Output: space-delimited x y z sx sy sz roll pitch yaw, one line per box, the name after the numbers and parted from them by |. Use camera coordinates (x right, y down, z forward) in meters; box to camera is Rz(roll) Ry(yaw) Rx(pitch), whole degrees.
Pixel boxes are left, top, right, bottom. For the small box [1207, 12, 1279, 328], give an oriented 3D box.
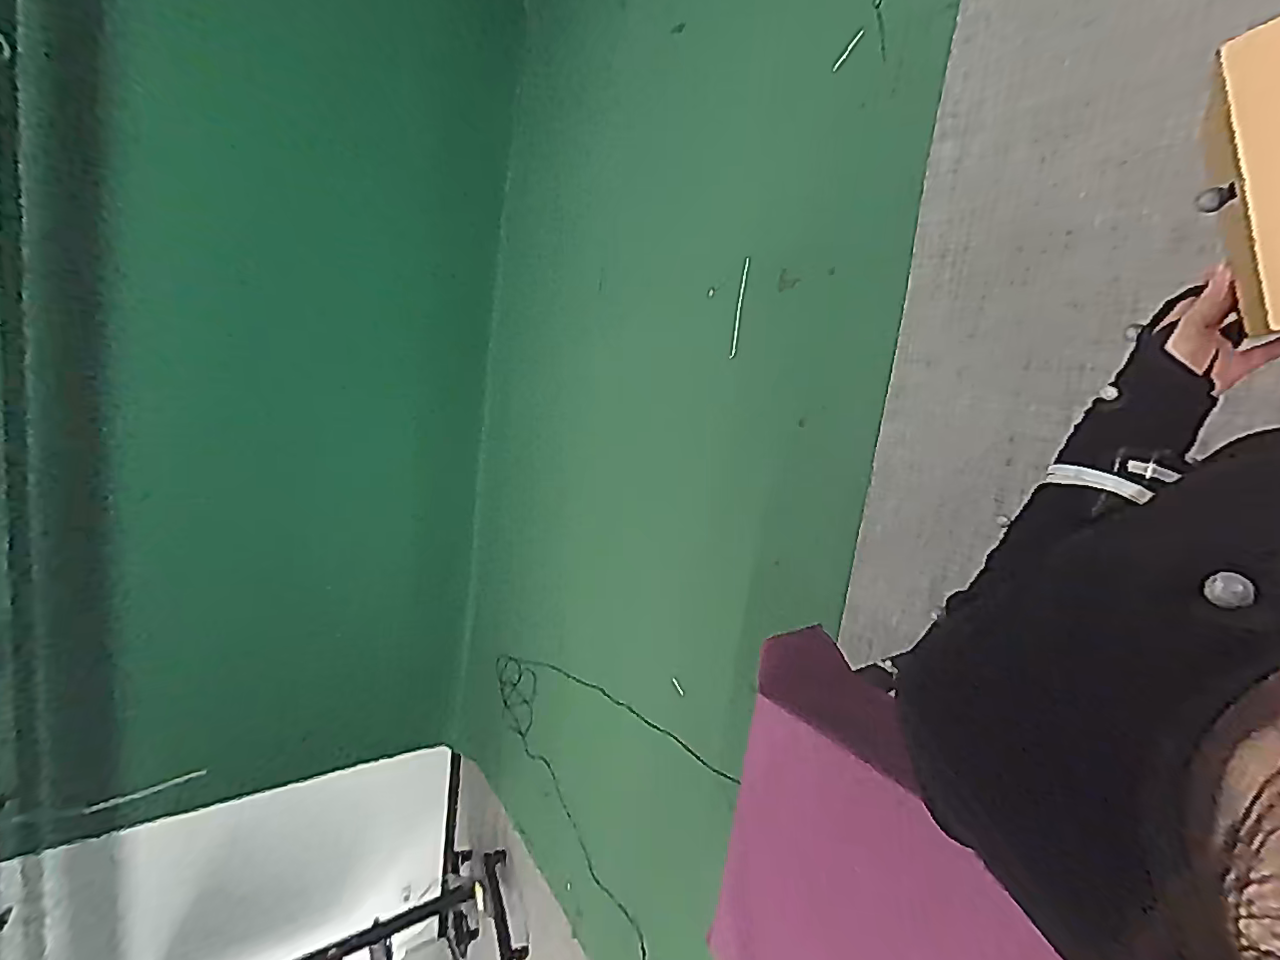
0.473 -0.199 0.326 0.168 0.176 0.179 -10 91 46 | small box
